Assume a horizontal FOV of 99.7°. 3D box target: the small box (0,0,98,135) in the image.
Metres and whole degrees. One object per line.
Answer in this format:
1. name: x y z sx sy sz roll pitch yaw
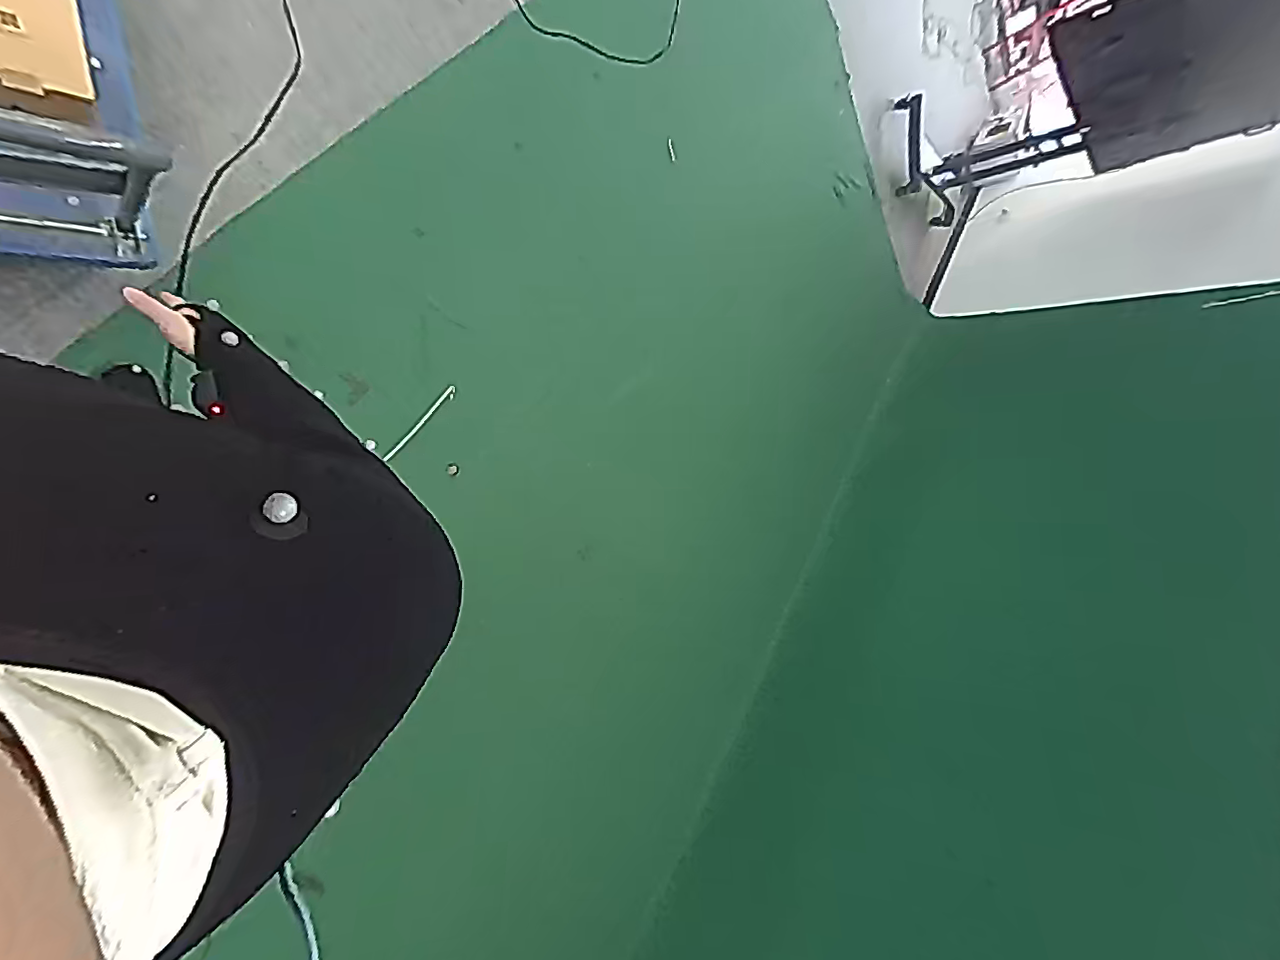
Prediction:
1. small box: -1.027 -0.711 0.890 0.168 0.176 0.179 -13 105 -44
